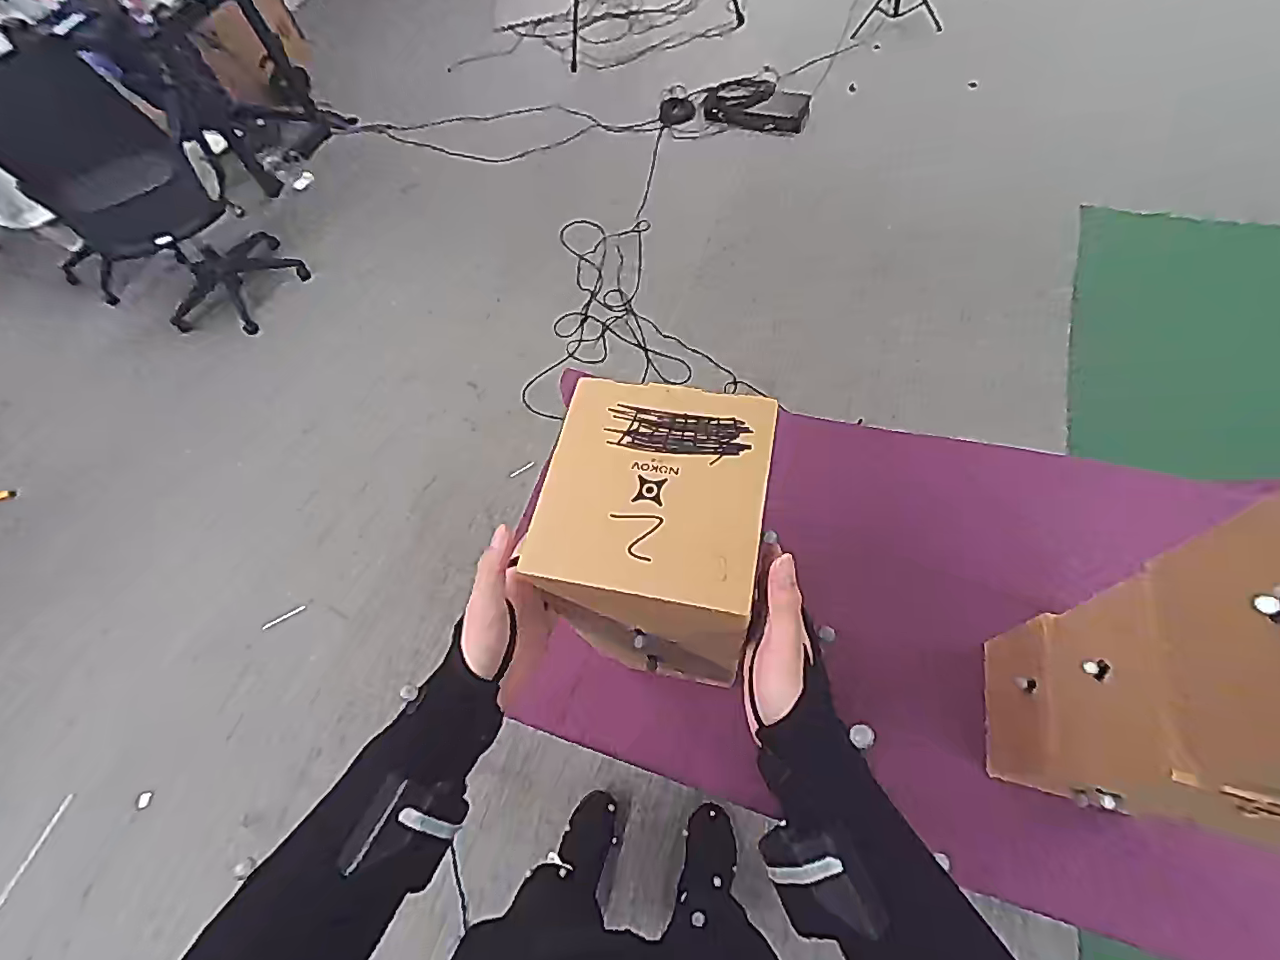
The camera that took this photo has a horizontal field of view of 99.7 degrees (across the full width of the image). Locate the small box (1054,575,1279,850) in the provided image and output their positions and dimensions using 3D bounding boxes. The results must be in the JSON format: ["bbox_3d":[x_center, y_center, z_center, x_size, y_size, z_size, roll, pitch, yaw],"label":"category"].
[{"bbox_3d":[0.510,0.213,0.488,0.168,0.176,0.179,13,62,14],"label":"small box"}]

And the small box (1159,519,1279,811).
[{"bbox_3d":[0.490,0.127,0.351,0.168,0.176,0.179,14,63,16],"label":"small box"}]

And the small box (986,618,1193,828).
[{"bbox_3d":[0.531,0.287,0.634,0.168,0.176,0.179,11,62,14],"label":"small box"}]

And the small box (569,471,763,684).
[{"bbox_3d":[0.038,0.115,0.604,0.168,0.176,0.179,9,63,12],"label":"small box"}]
